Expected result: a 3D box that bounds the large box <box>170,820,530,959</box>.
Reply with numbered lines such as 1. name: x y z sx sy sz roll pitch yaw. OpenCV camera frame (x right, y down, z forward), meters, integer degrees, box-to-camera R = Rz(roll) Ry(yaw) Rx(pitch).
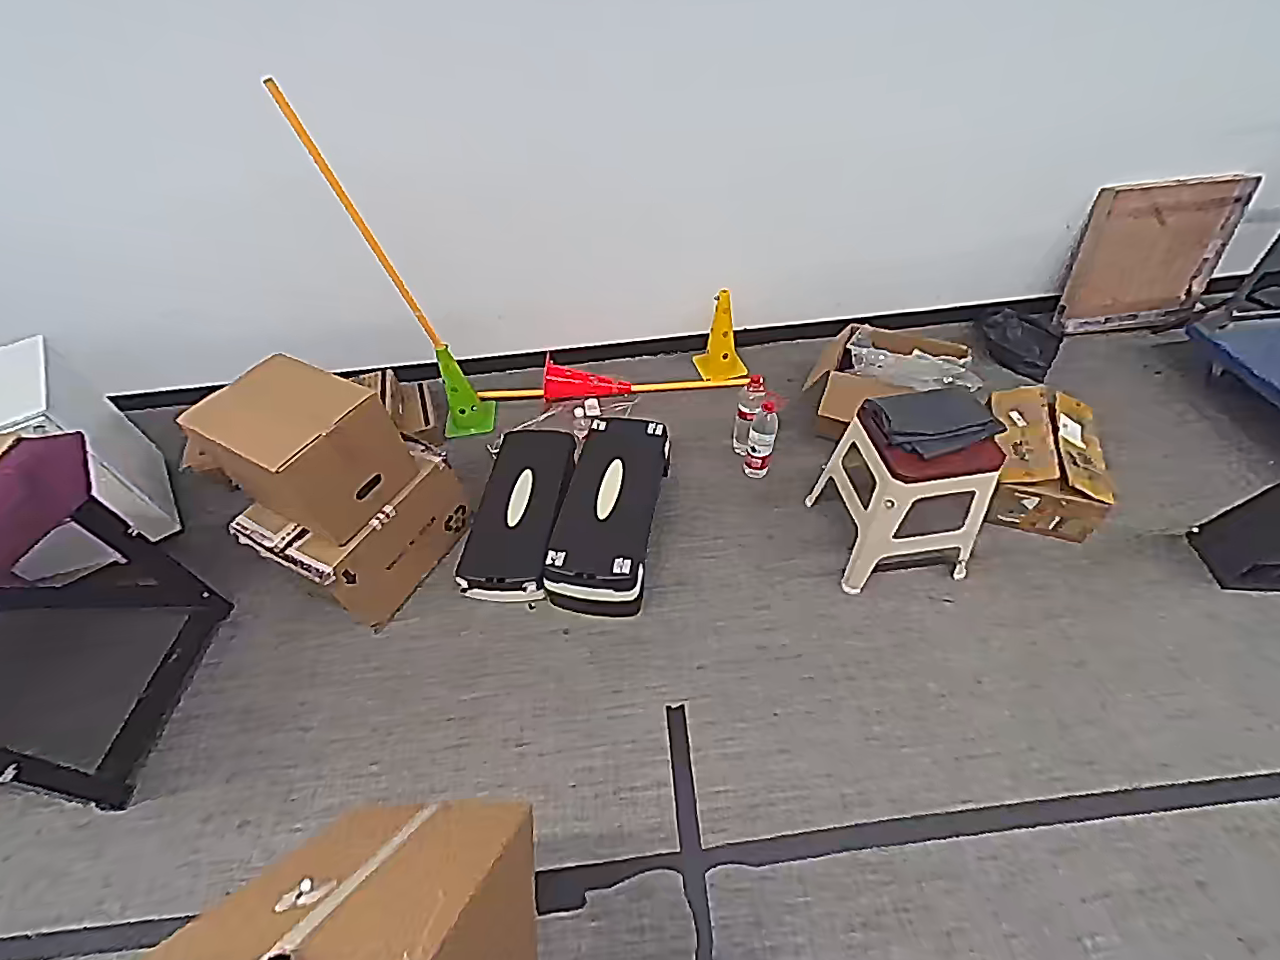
1. large box: -0.338 0.680 0.676 0.320 0.408 0.320 -5 79 5
